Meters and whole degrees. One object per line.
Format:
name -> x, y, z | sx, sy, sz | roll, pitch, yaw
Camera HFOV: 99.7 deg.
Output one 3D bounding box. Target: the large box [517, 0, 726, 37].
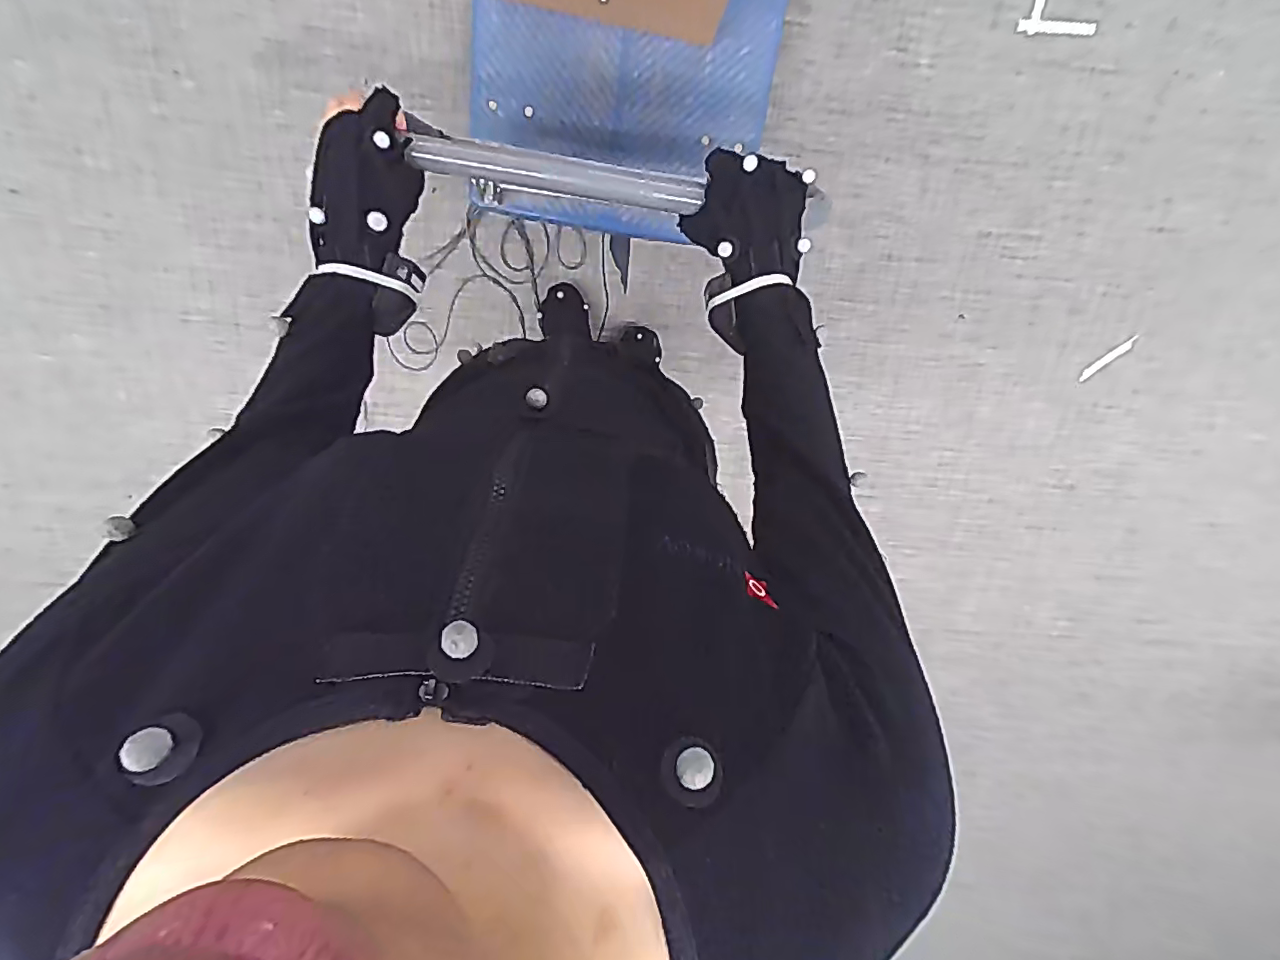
large box -> -0.033, -0.955, 0.832 | 0.408, 0.320, 0.320 | 9, 110, -4
